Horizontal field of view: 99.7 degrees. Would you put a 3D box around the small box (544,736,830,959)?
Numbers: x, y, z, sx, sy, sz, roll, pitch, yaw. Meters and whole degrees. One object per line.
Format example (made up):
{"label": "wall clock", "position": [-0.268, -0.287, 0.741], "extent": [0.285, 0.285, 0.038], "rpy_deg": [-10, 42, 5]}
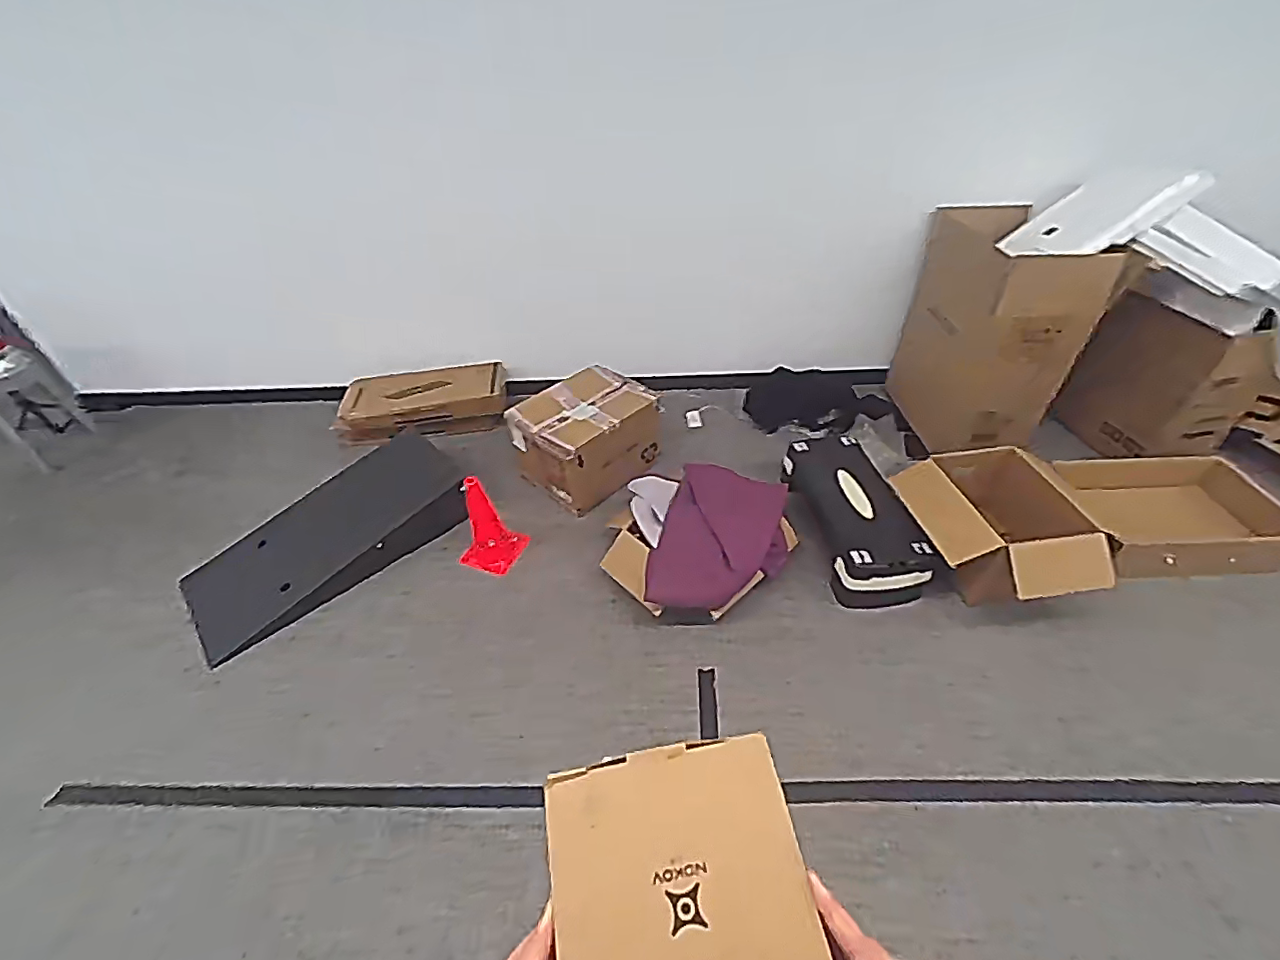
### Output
{"label": "small box", "position": [0.025, 0.314, 0.402], "extent": [0.168, 0.176, 0.179], "rpy_deg": [-9, 55, -7]}
